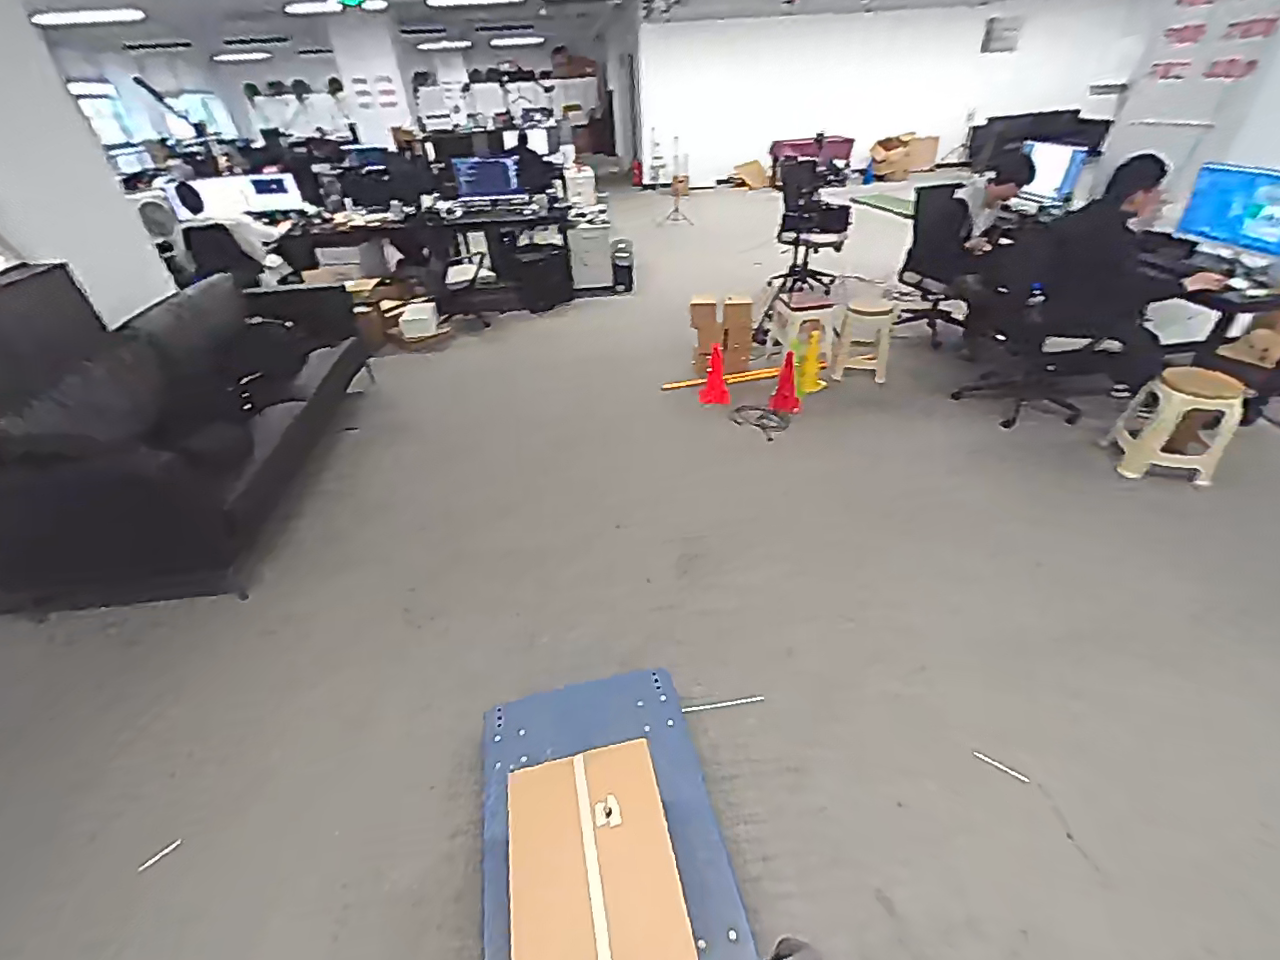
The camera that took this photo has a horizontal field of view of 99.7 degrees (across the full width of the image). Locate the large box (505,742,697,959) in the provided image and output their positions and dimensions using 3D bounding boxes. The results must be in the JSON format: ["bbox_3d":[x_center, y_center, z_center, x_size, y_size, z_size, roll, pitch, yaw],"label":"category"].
[{"bbox_3d":[-0.087,0.849,1.122,0.320,0.320,0.408,-10,35,-9],"label":"large box"}]
